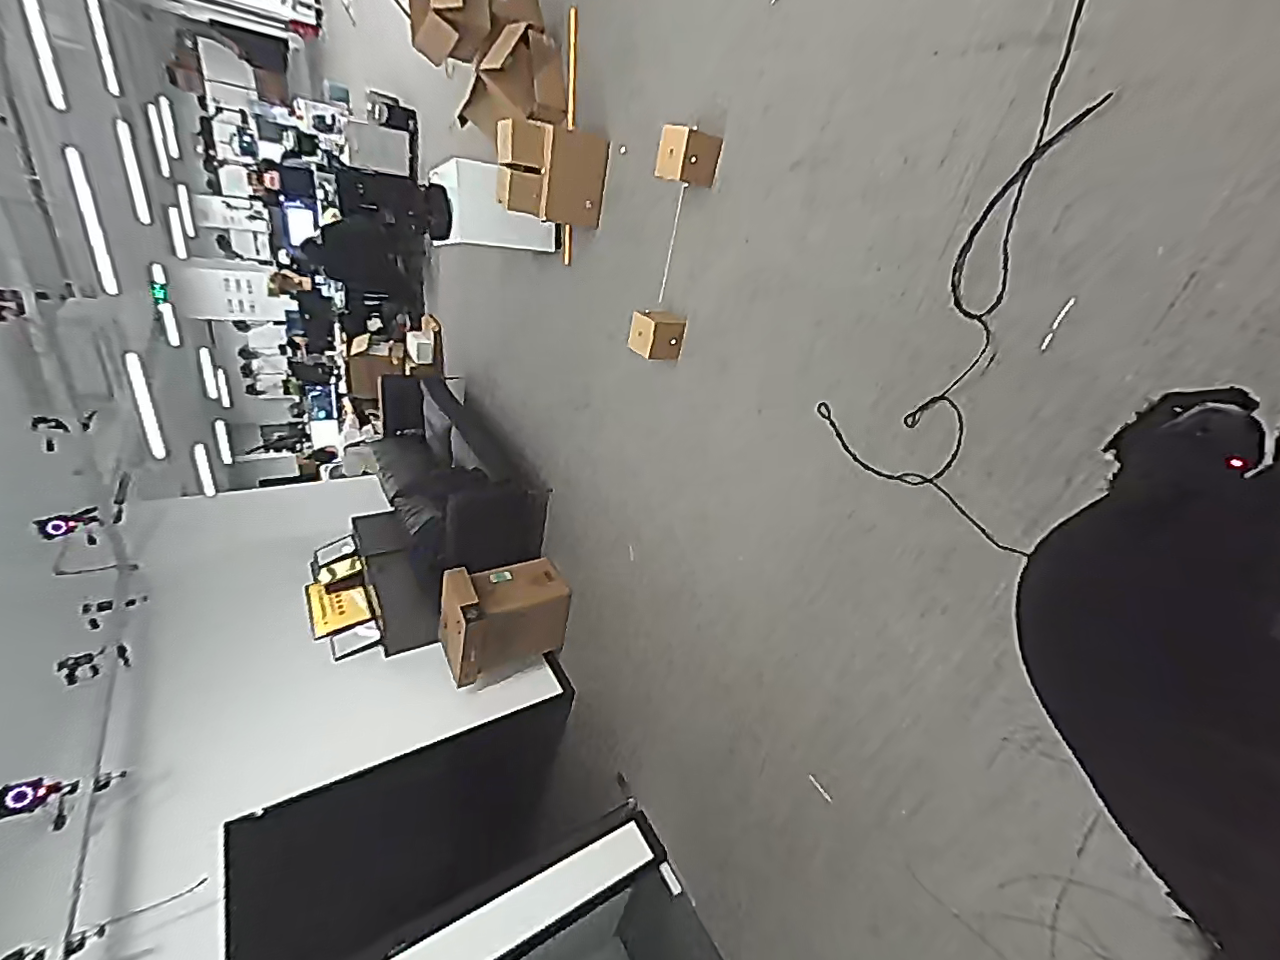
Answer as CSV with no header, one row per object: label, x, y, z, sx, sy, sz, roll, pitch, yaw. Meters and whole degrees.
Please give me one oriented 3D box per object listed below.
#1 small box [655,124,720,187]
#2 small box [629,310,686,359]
small box,0.184,-1.237,2.065,0.168,0.176,0.179,42,132,43
small box,0.077,-0.643,2.391,0.179,0.176,0.168,43,132,43
